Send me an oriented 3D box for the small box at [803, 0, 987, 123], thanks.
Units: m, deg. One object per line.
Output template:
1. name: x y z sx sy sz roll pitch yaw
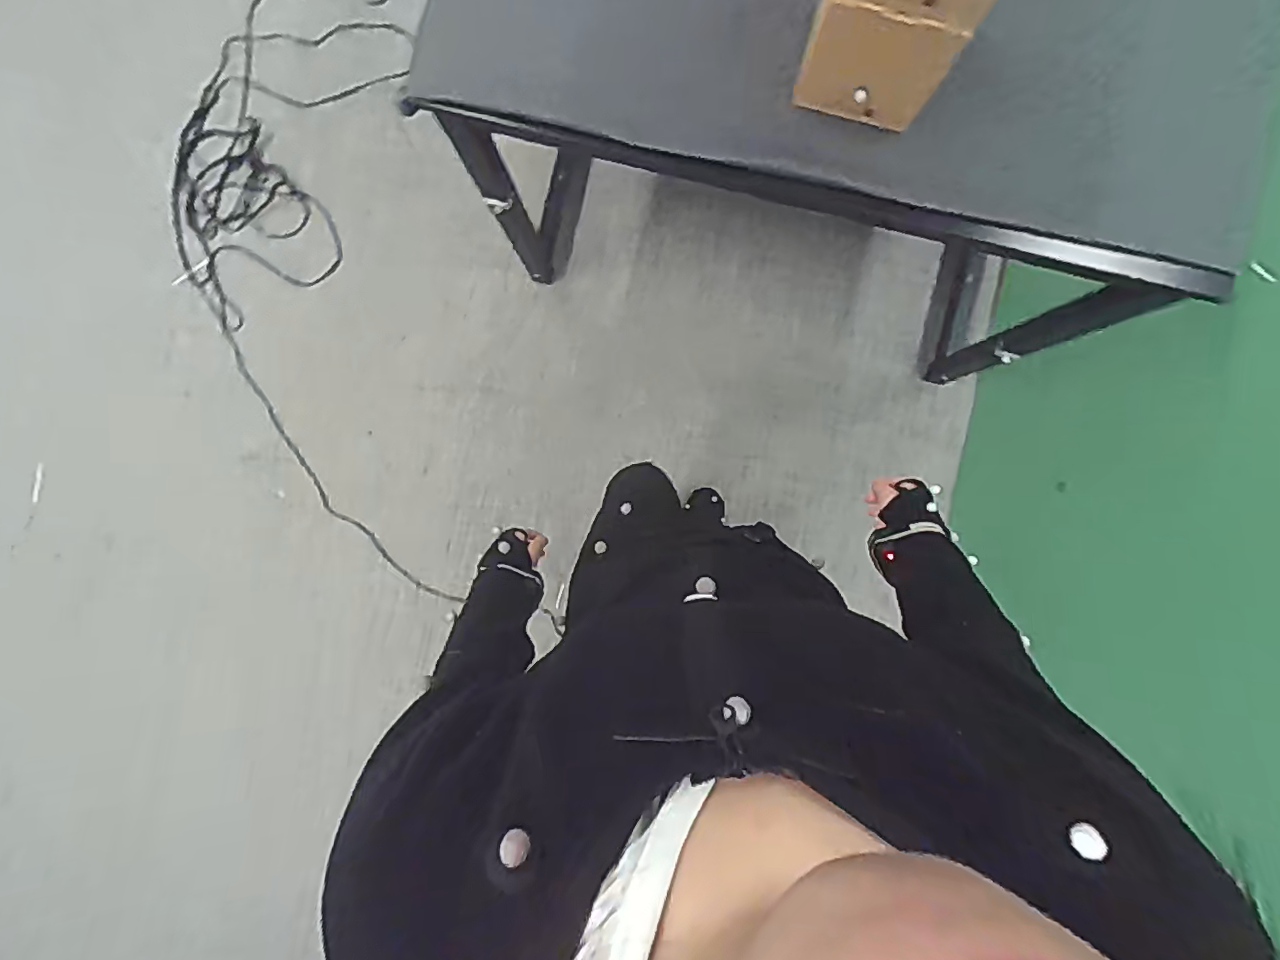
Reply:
1. small box: 0.321 -0.602 0.678 0.168 0.176 0.179 16 90 2
